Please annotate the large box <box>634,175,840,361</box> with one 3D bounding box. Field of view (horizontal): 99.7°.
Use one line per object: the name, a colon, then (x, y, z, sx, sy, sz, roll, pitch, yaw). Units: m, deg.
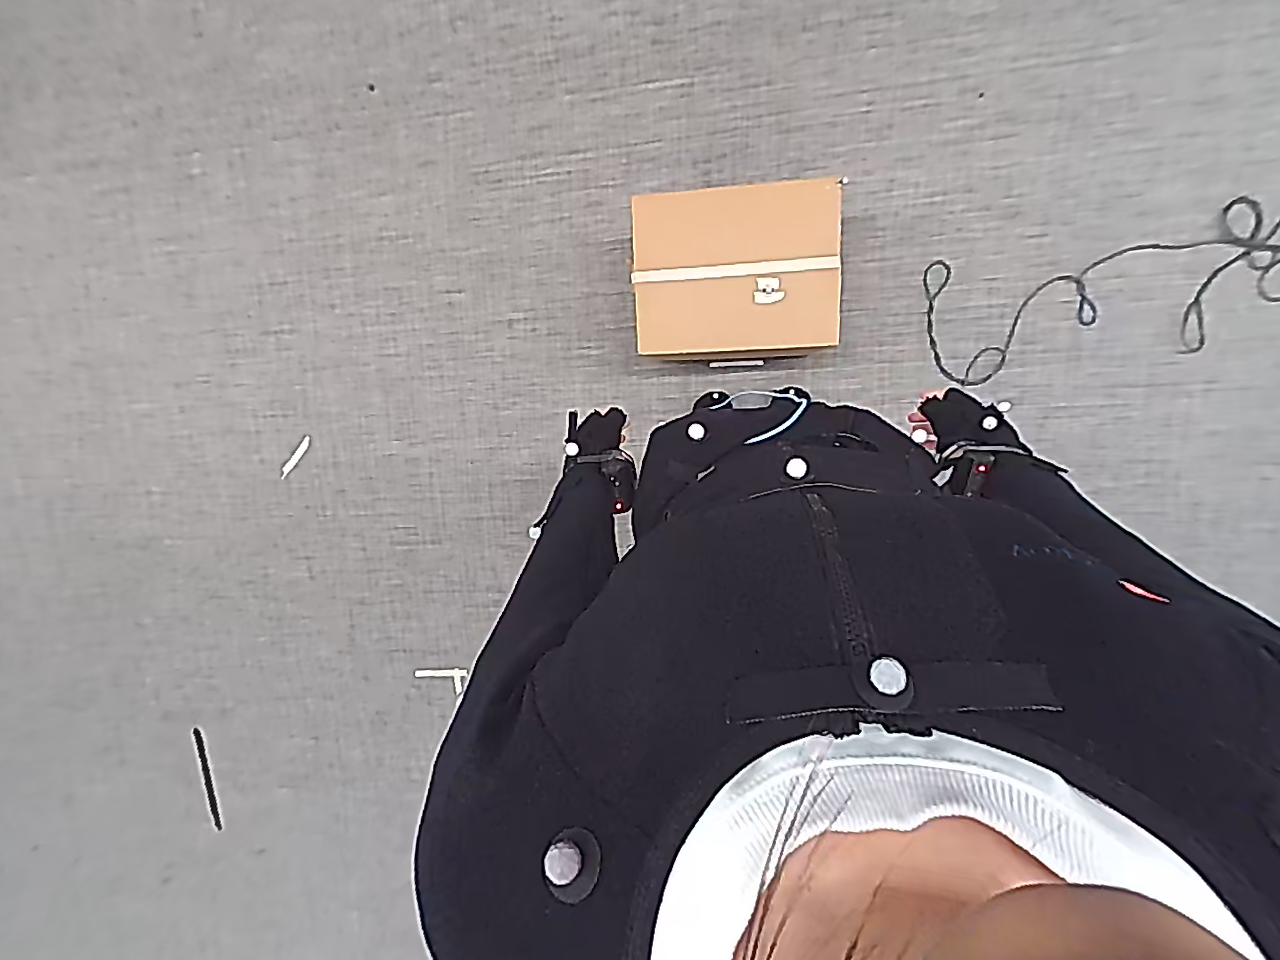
large box: (0.210, -0.445, 1.221, 0.408, 0.320, 0.320, -1, 100, 8)
